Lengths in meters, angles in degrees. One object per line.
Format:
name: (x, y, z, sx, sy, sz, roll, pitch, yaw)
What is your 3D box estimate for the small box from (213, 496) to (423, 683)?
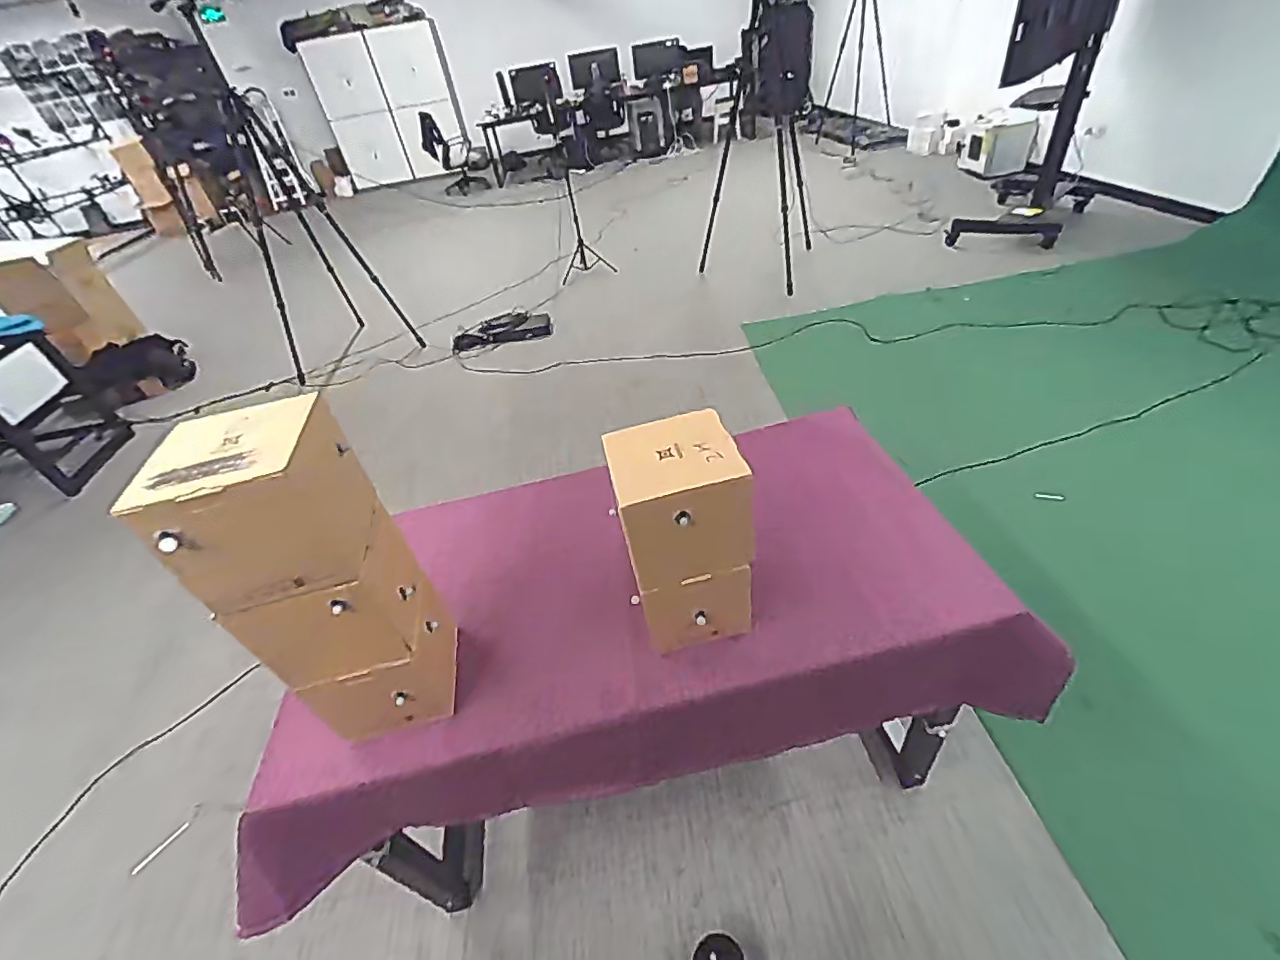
small box: (-0.424, 0.153, 0.749, 0.179, 0.176, 0.168, -14, 40, -7)

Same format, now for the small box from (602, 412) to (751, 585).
small box: (0.055, 0.029, 0.785, 0.179, 0.176, 0.168, -13, 40, -3)

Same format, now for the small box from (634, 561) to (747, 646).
small box: (0.075, 0.153, 0.893, 0.168, 0.176, 0.179, -13, 41, -3)

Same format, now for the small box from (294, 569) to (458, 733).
small box: (-0.398, 0.275, 0.853, 0.168, 0.176, 0.179, -13, 40, -5)
